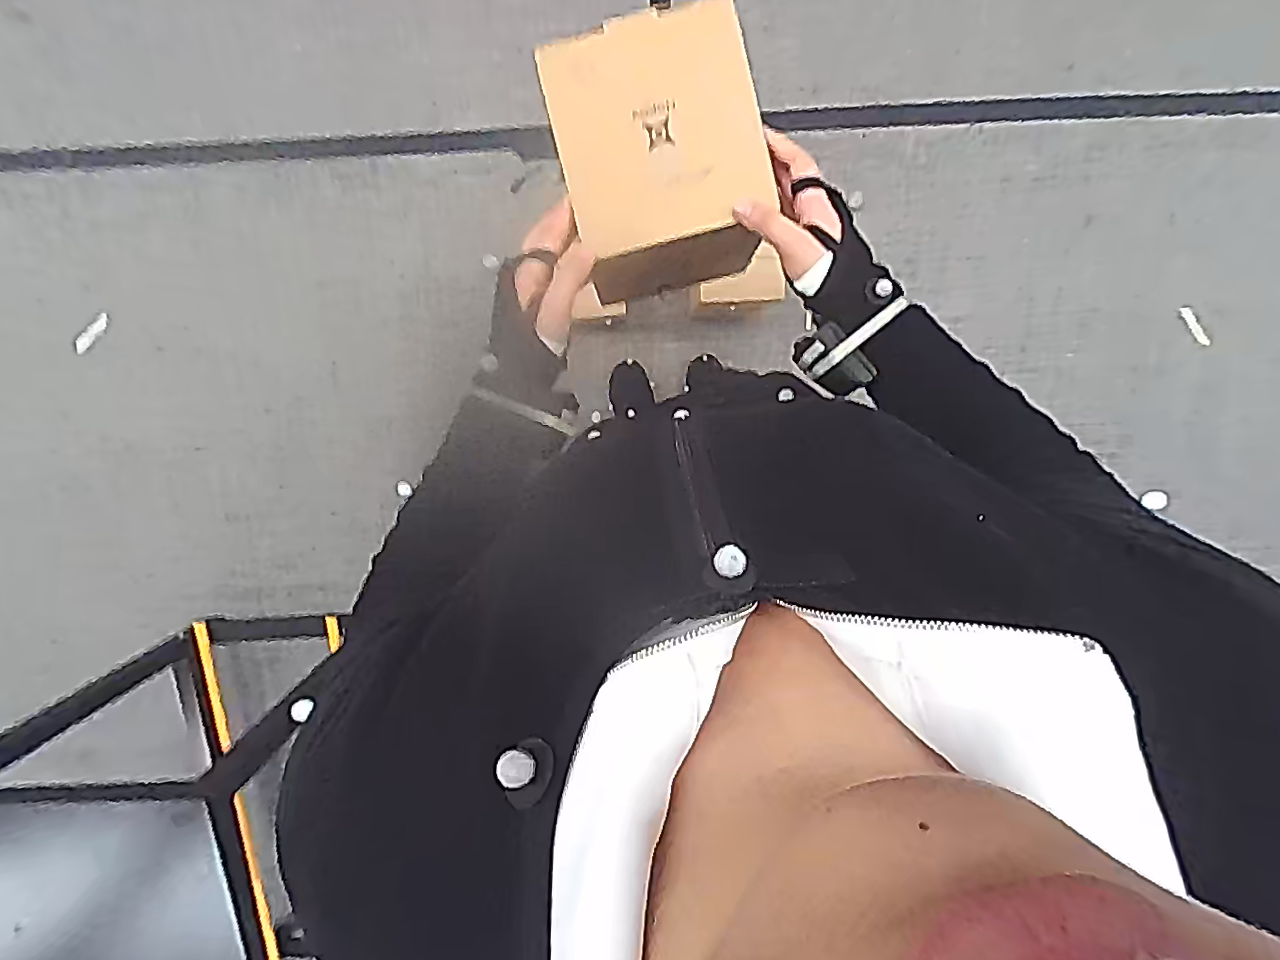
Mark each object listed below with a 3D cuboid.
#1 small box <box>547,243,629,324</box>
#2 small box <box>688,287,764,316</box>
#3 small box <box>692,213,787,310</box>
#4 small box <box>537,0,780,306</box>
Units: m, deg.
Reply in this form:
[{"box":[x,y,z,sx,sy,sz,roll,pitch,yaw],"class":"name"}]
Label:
[{"box":[-0.121,-0.475,1.316,0.179,0.176,0.168,-5,102,1],"class":"small box"},{"box":[0.208,-0.493,1.316,0.168,0.176,0.179,-1,103,0],"class":"small box"},{"box":[0.203,-0.459,1.153,0.179,0.176,0.168,-2,102,-1],"class":"small box"},{"box":[0.016,-0.286,0.511,0.168,0.176,0.179,-14,95,3],"class":"small box"}]
